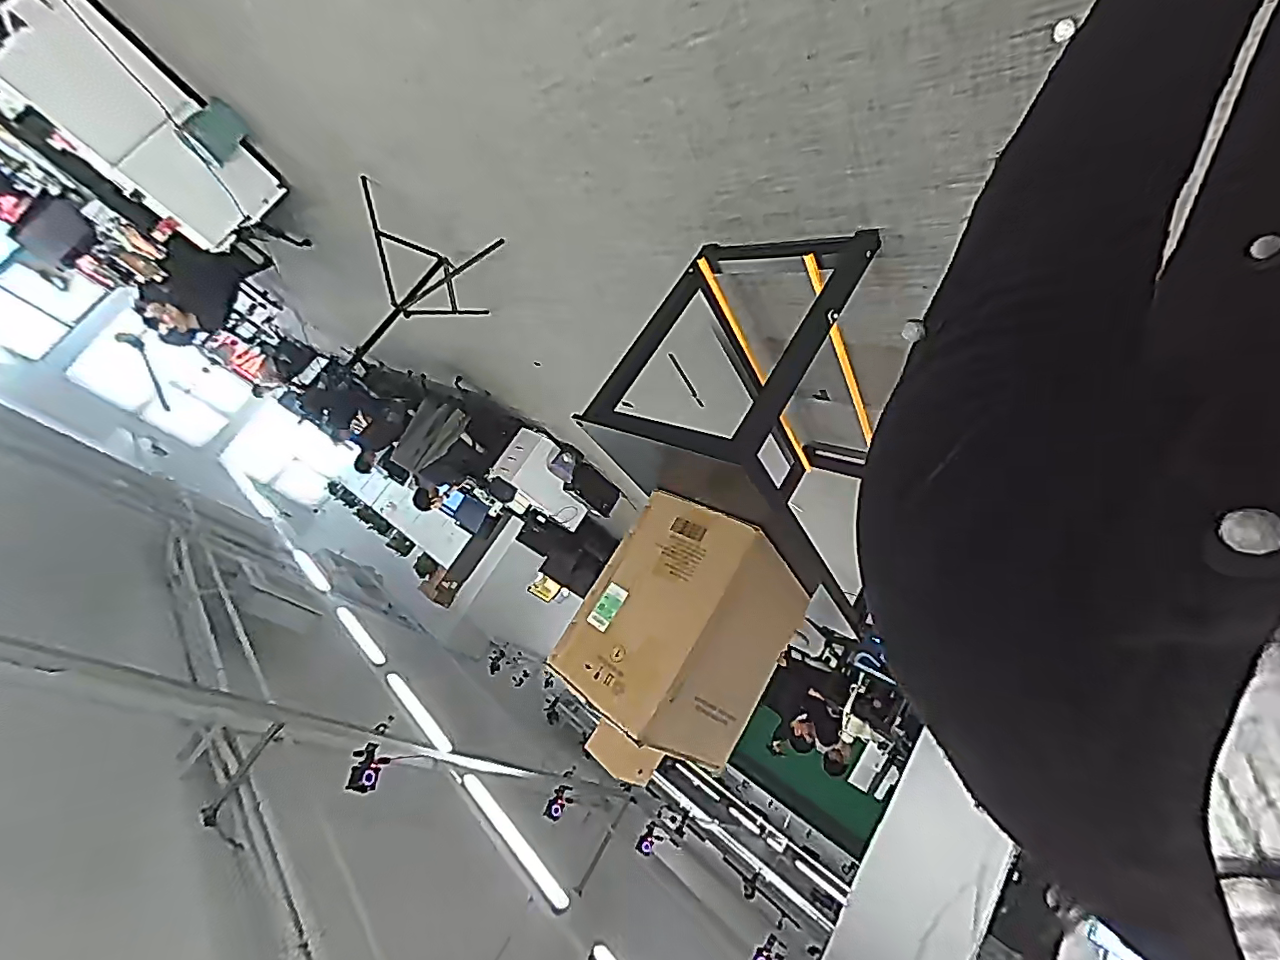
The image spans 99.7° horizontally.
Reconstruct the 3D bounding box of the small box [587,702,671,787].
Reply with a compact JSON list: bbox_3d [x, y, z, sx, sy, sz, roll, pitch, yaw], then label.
[{"bbox_3d":[-0.029,0.851,1.743,0.168,0.176,0.179,23,162,43],"label":"small box"}]
